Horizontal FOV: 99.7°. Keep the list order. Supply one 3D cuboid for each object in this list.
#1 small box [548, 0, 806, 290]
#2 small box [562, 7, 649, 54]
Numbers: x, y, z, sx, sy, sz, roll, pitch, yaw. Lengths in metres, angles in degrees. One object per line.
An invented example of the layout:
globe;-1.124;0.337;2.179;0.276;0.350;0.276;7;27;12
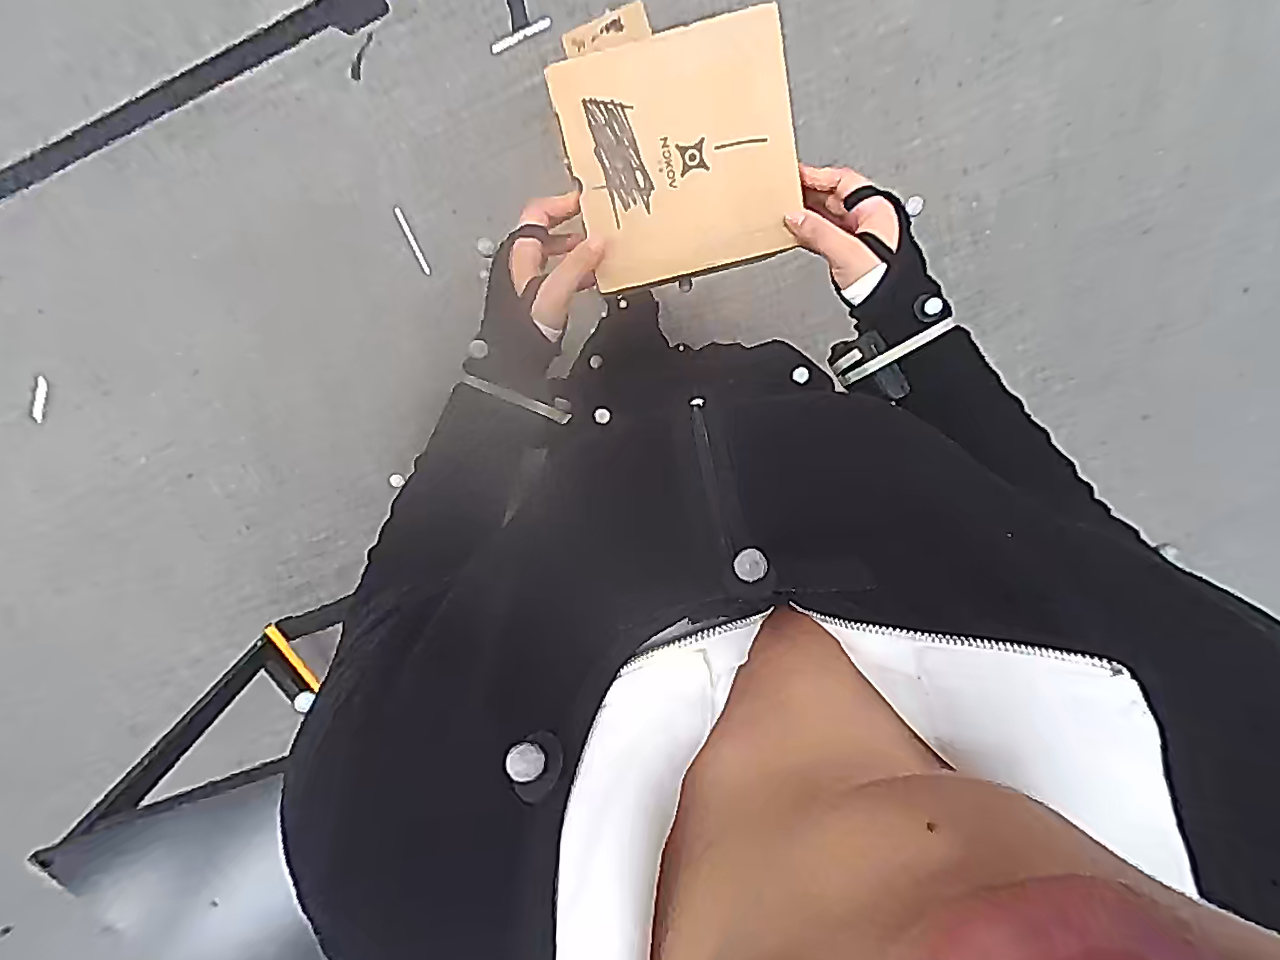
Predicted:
small box;0.034;-0.274;0.489;0.179;0.176;0.168;-12;108;4
small box;-0.047;-0.811;1.114;0.168;0.176;0.179;-19;112;6
